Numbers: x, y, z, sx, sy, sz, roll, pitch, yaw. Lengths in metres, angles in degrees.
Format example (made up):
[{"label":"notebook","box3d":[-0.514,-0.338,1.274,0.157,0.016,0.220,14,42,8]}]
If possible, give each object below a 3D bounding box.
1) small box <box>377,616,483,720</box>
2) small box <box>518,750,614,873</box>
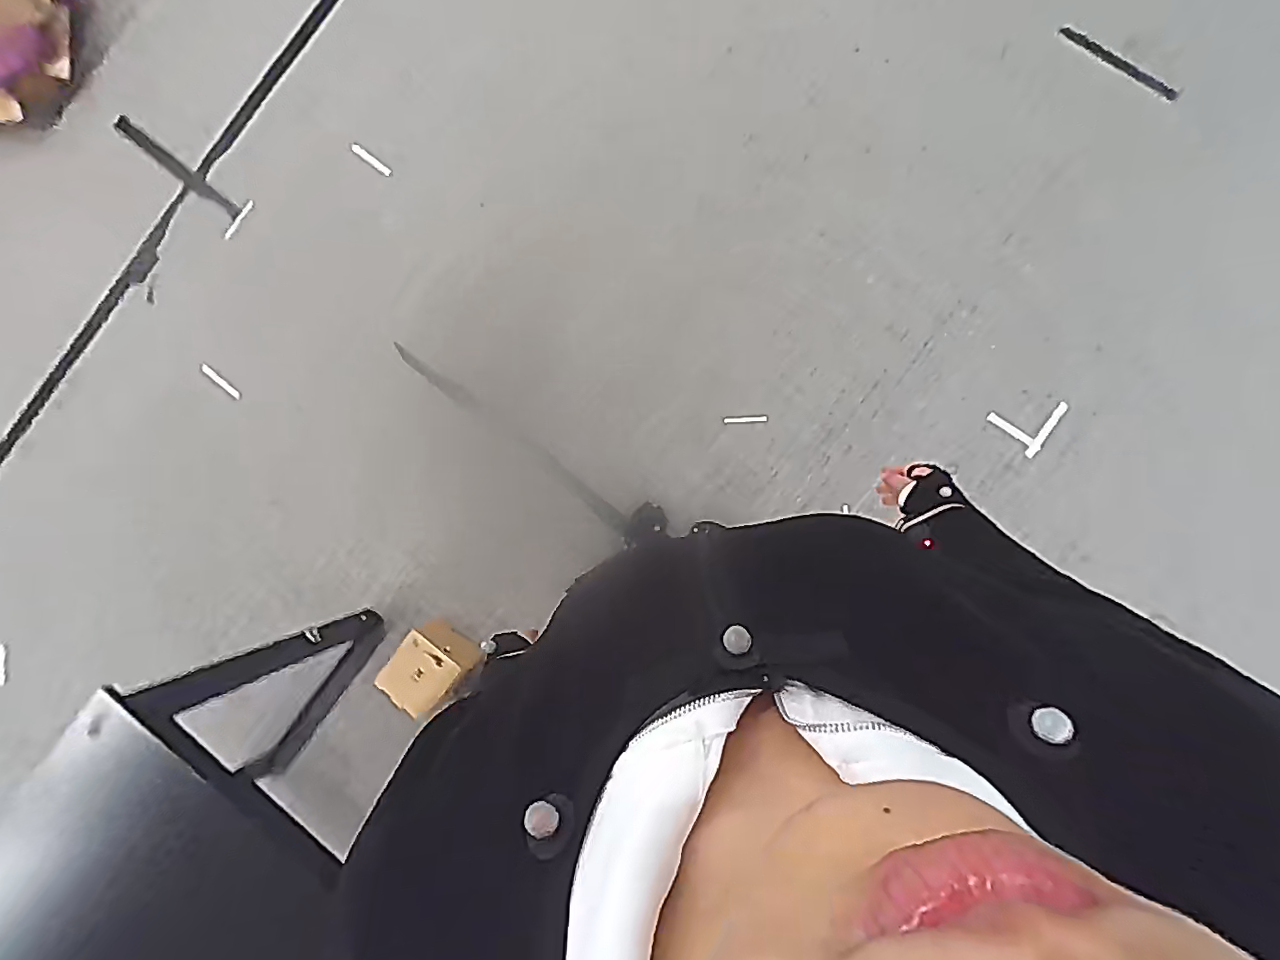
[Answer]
[{"label":"small box","box3d":[-0.554,0.497,1.454,0.168,0.176,0.179,37,91,4]},{"label":"small box","box3d":[-0.182,0.855,1.412,0.168,0.176,0.179,37,90,5]}]
